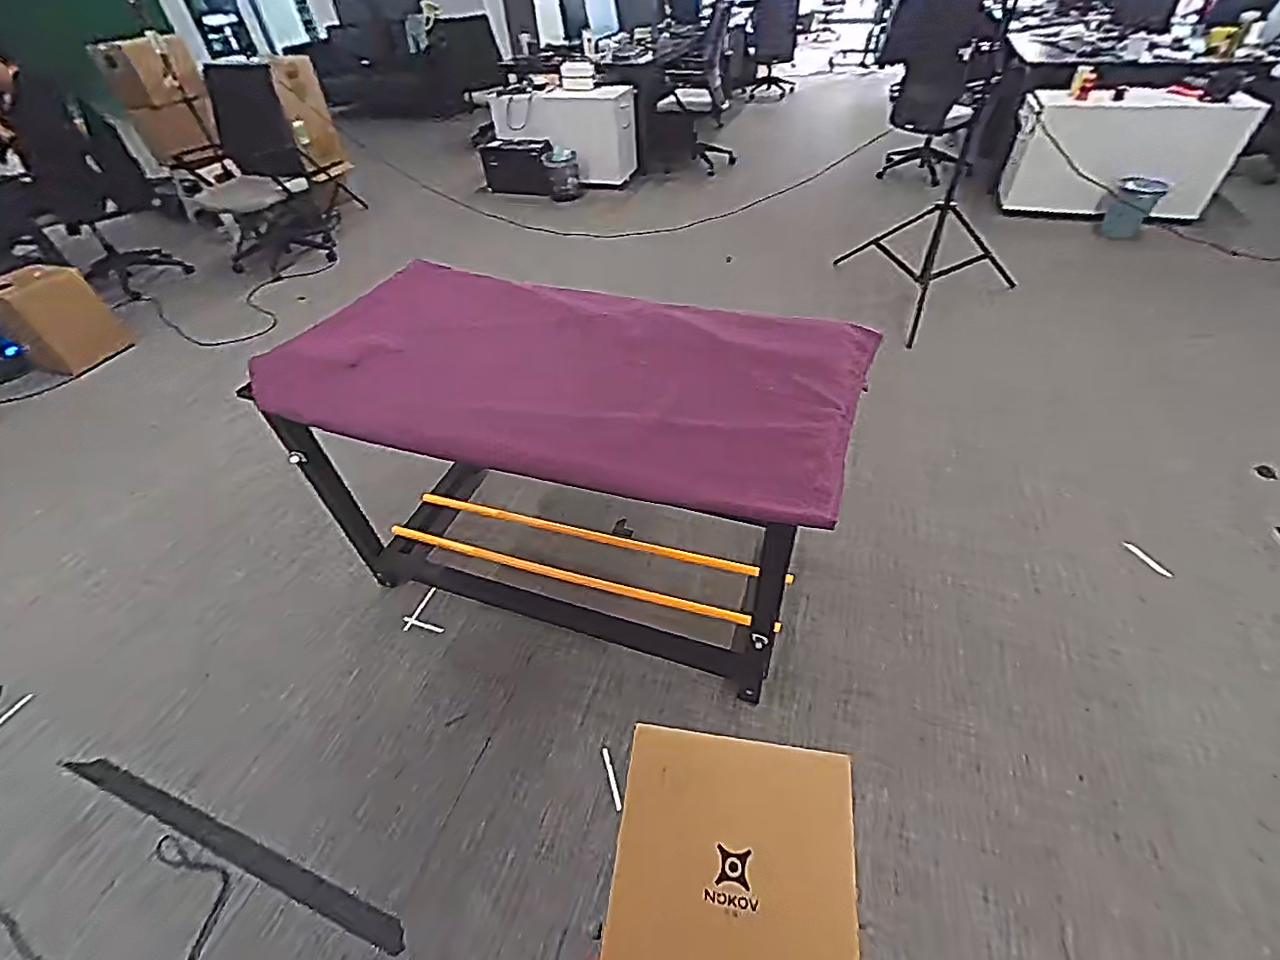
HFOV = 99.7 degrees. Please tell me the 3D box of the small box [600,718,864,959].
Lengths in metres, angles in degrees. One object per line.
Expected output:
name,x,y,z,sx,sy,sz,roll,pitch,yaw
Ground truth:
small box,0.069,0.310,0.429,0.168,0.176,0.179,4,56,9
